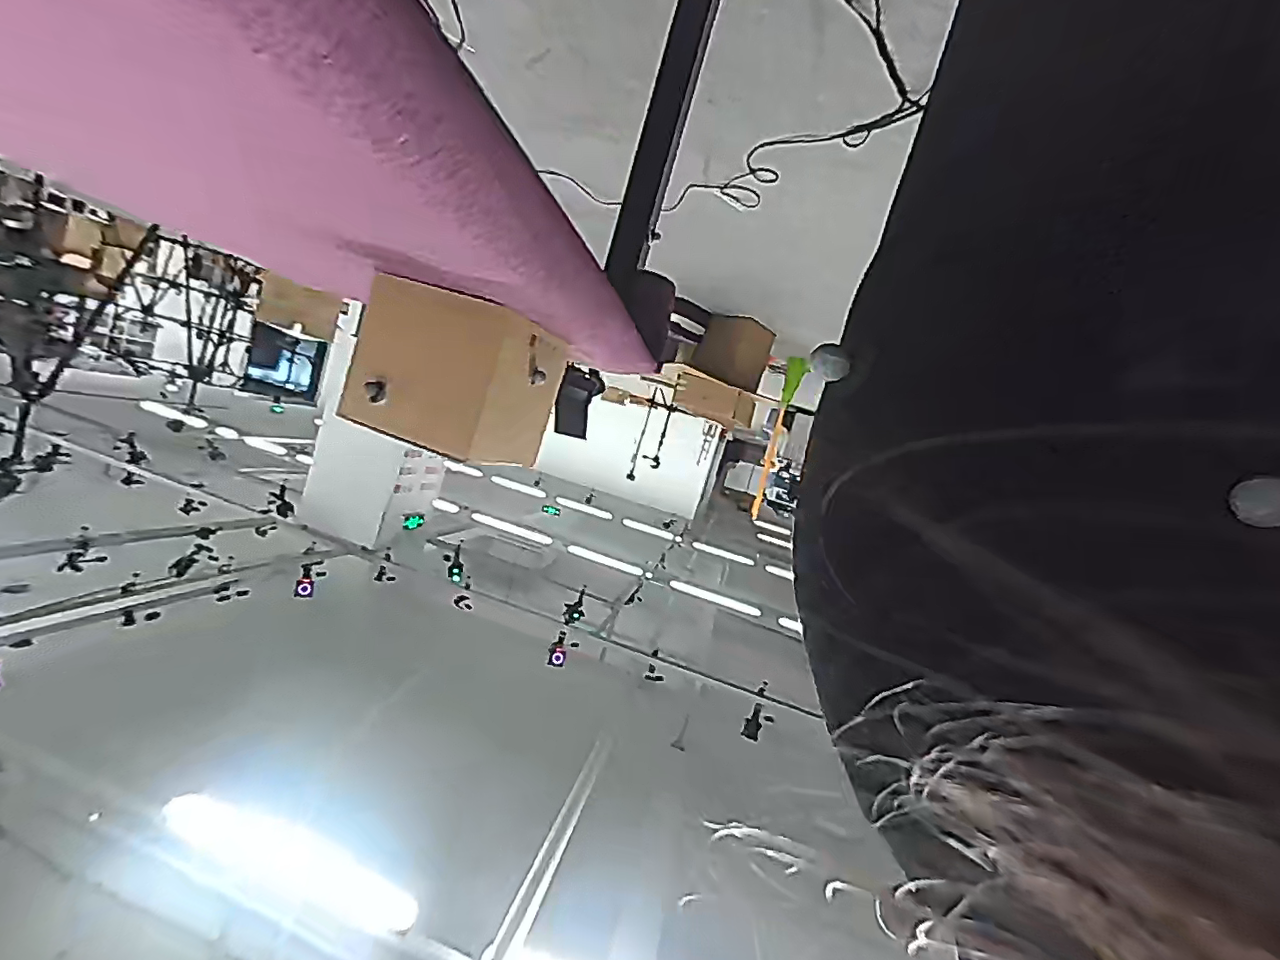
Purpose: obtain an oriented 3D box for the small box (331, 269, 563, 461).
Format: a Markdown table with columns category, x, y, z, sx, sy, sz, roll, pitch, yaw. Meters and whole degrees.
| category | x | y | z | sx | sy | sz | roll | pitch | yaw |
| --- | --- | --- | --- | --- | --- | --- | --- | --- | --- |
| small box | -0.216 | -0.130 | 0.643 | 0.179 | 0.176 | 0.168 | 19 | -175 | 12 |
